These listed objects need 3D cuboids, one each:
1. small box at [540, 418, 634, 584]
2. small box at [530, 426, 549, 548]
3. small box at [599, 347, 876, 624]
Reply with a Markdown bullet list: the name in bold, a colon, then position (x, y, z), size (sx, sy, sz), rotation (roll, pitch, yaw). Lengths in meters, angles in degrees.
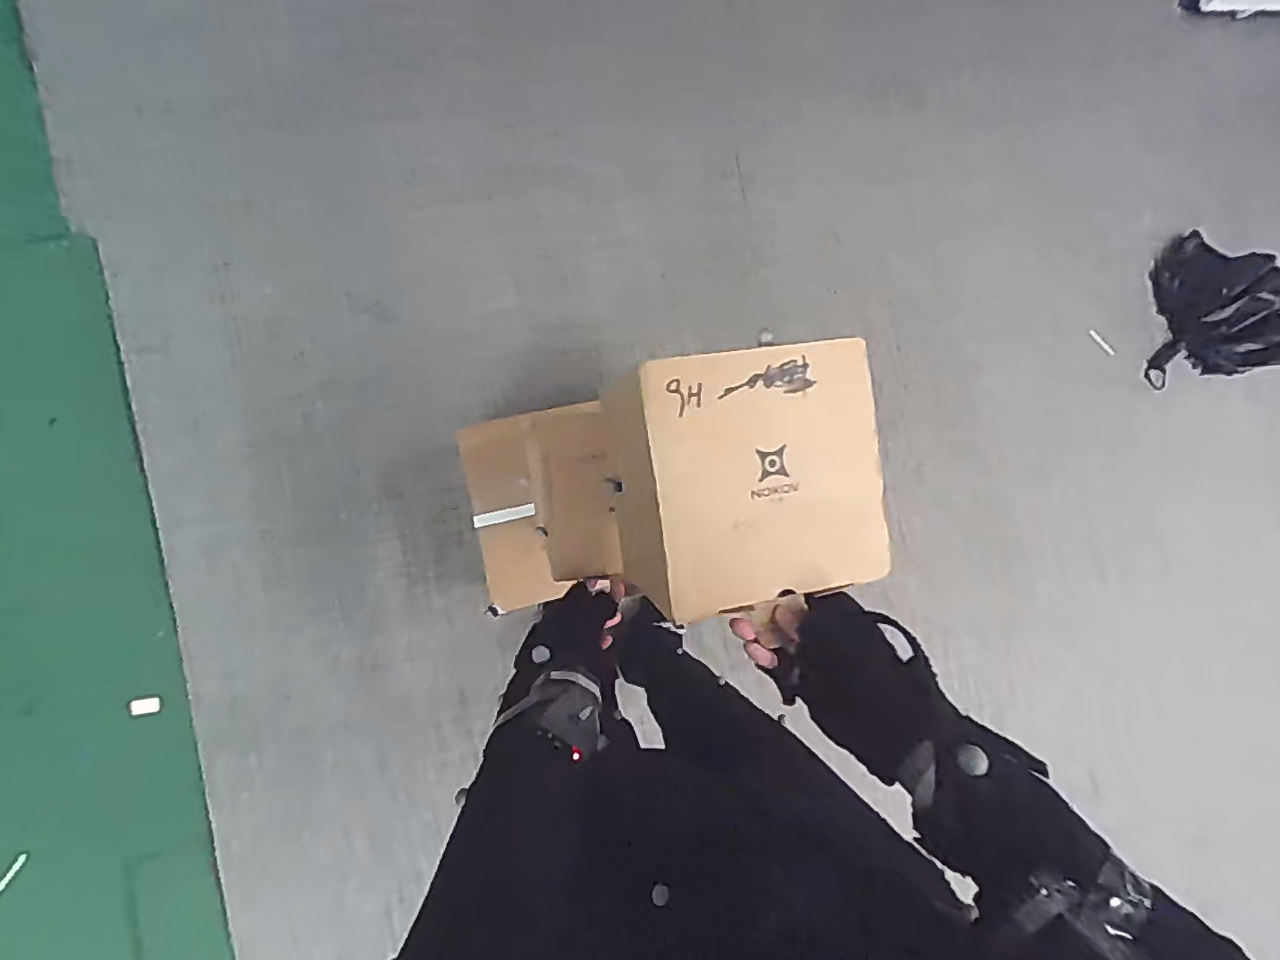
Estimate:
- **small box**: position (-0.031, 0.015, 0.660), size (0.168, 0.176, 0.179), rotation (-5, 94, -13)
- **small box**: position (-0.071, 0.000, 0.814), size (0.179, 0.176, 0.168), rotation (-5, 93, -12)
- **small box**: position (0.067, -0.003, 0.452), size (0.168, 0.176, 0.179), rotation (-9, 95, -12)
